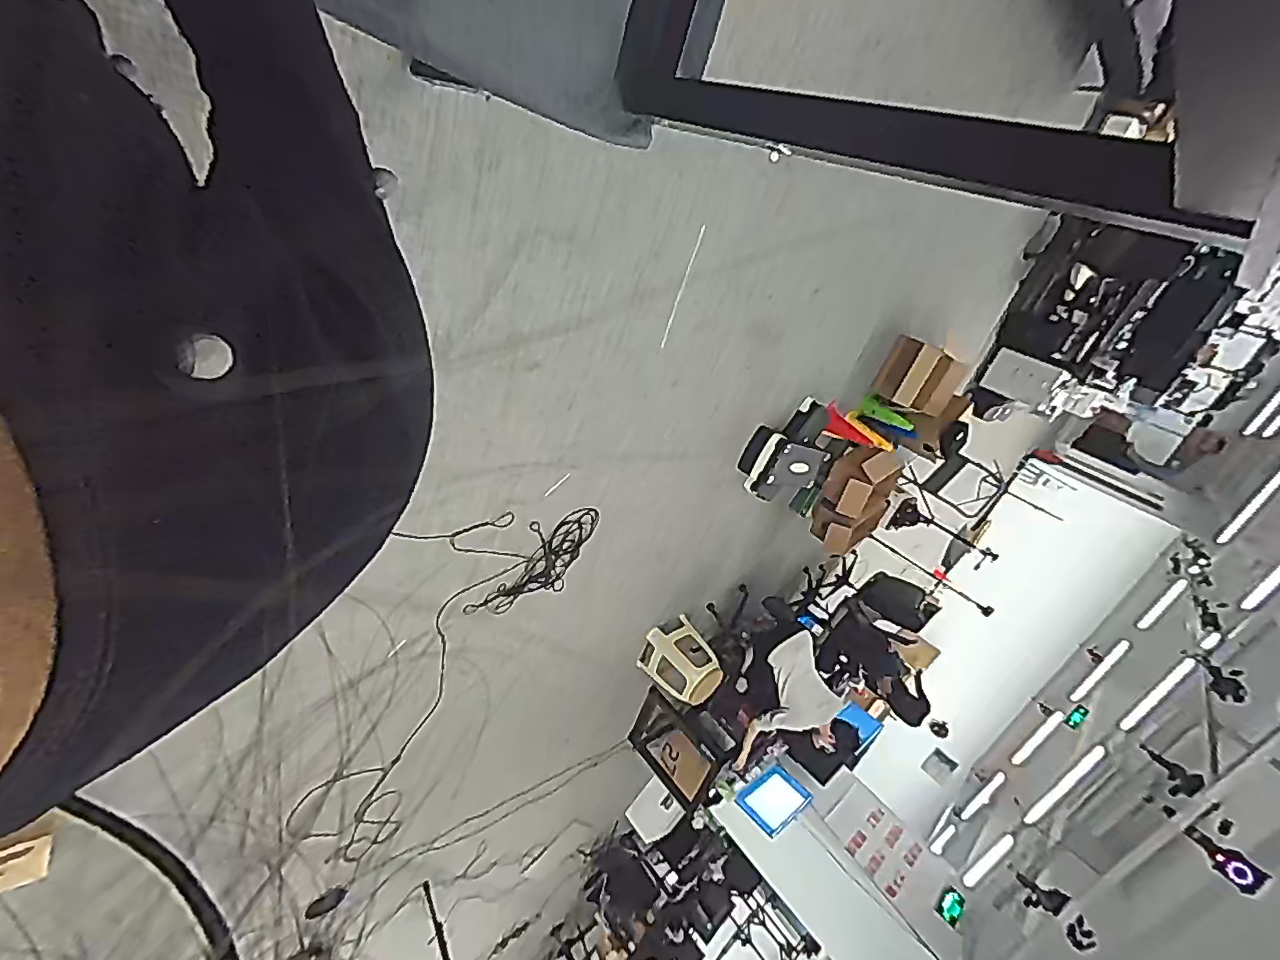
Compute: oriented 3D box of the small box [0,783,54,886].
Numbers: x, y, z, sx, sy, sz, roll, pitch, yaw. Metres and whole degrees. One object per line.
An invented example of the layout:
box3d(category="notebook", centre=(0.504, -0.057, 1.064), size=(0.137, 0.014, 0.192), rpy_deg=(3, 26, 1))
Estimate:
box3d(category="small box", centre=(-1.662, 0.930, 1.413), size=(0.168, 0.176, 0.179), rpy_deg=(4, 119, -49))
